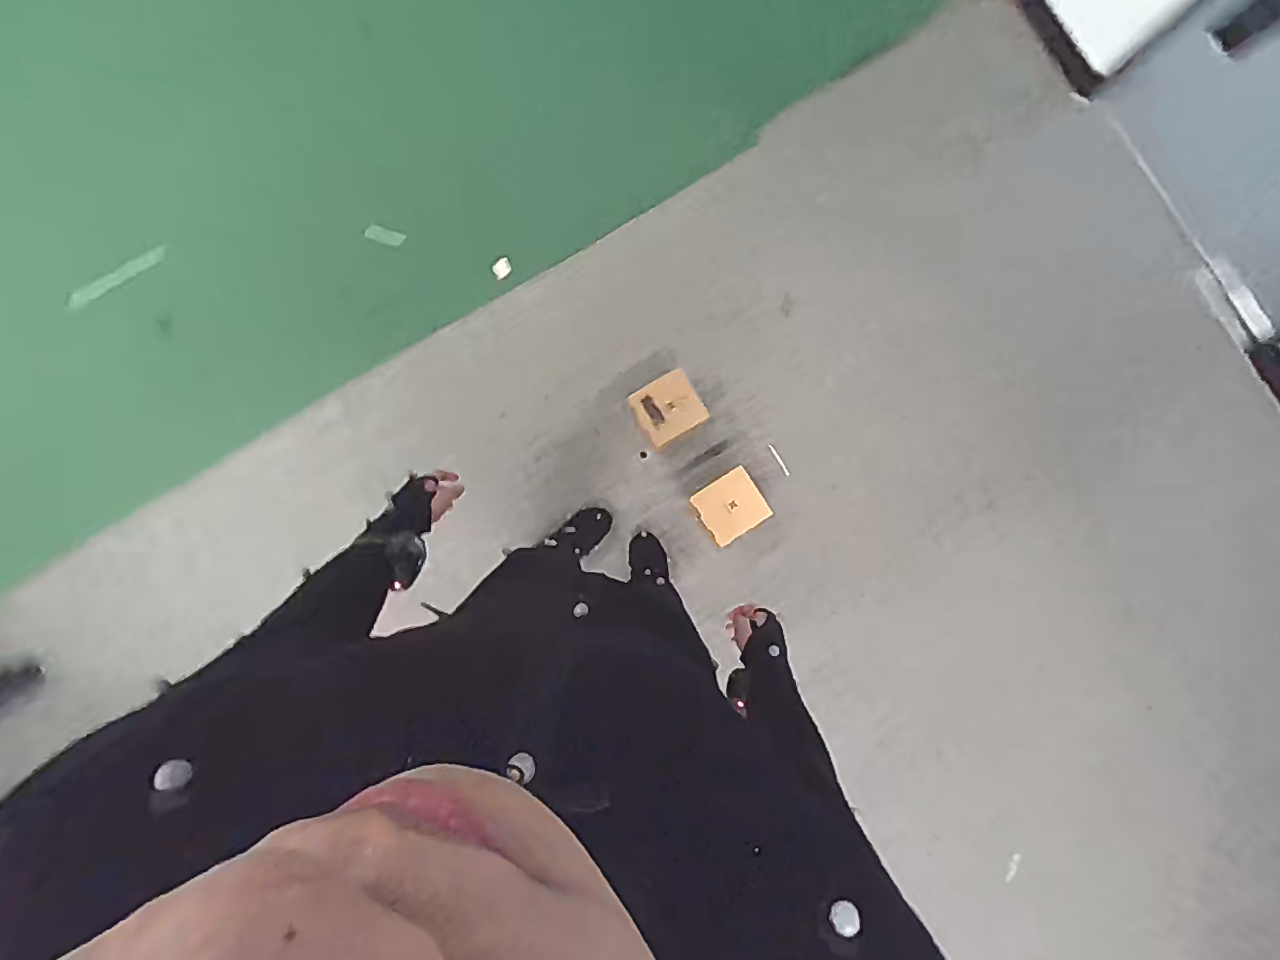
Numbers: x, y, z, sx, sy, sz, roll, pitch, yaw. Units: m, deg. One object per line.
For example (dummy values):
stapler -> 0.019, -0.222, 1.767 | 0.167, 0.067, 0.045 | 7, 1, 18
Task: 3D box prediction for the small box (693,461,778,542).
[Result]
small box -> 0.268, 0.058, 1.569 | 0.179, 0.176, 0.168 | -32, 89, 1
